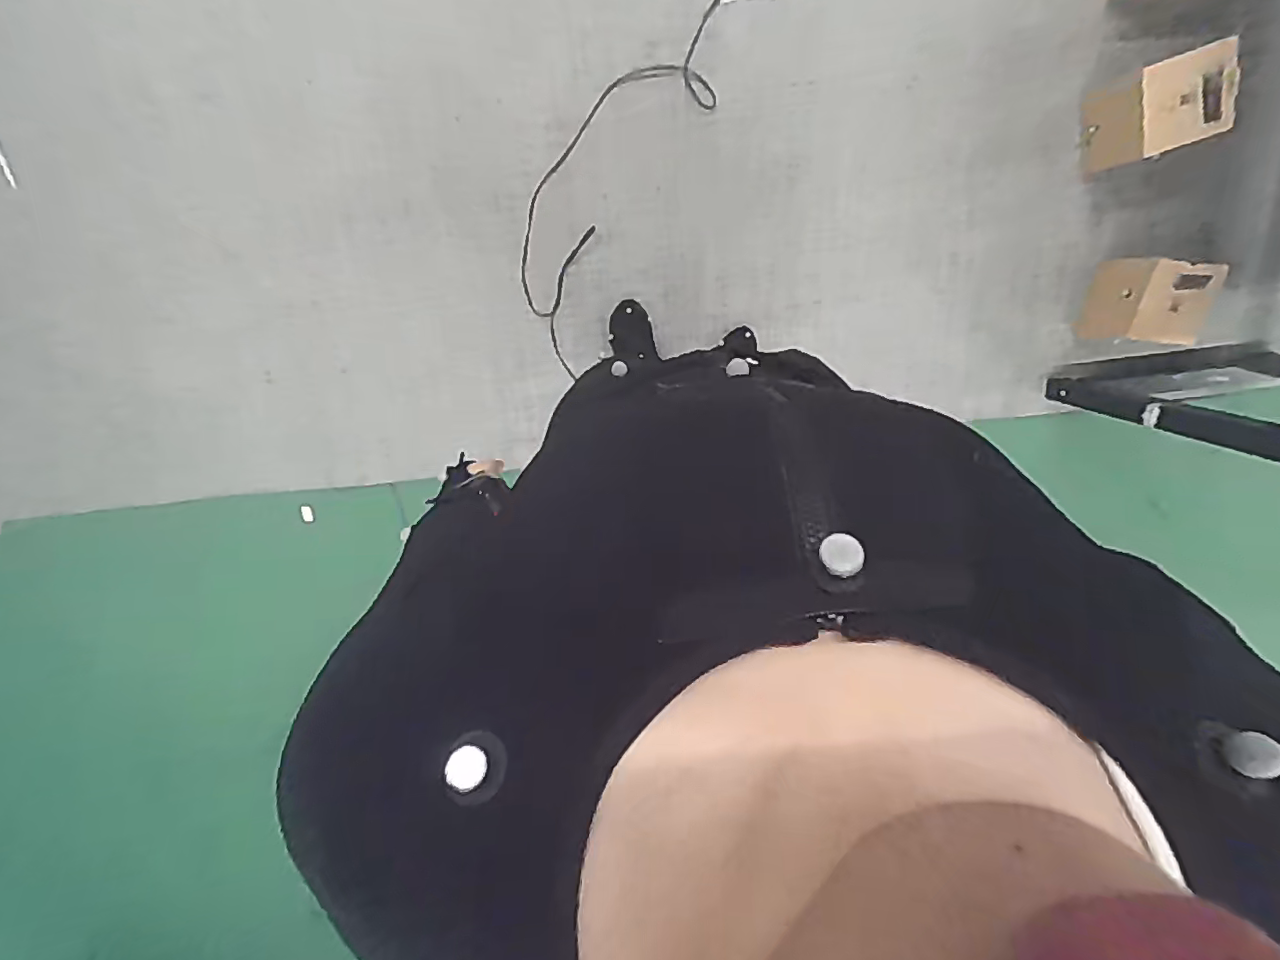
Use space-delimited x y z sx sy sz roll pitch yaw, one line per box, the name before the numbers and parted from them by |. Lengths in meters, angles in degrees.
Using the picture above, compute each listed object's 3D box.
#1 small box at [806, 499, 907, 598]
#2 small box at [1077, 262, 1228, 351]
small box | 0.593 0.184 1.499 0.168 0.176 0.179 -37 106 12
small box | 1.200 -0.414 1.284 0.168 0.176 0.179 6 111 -2
